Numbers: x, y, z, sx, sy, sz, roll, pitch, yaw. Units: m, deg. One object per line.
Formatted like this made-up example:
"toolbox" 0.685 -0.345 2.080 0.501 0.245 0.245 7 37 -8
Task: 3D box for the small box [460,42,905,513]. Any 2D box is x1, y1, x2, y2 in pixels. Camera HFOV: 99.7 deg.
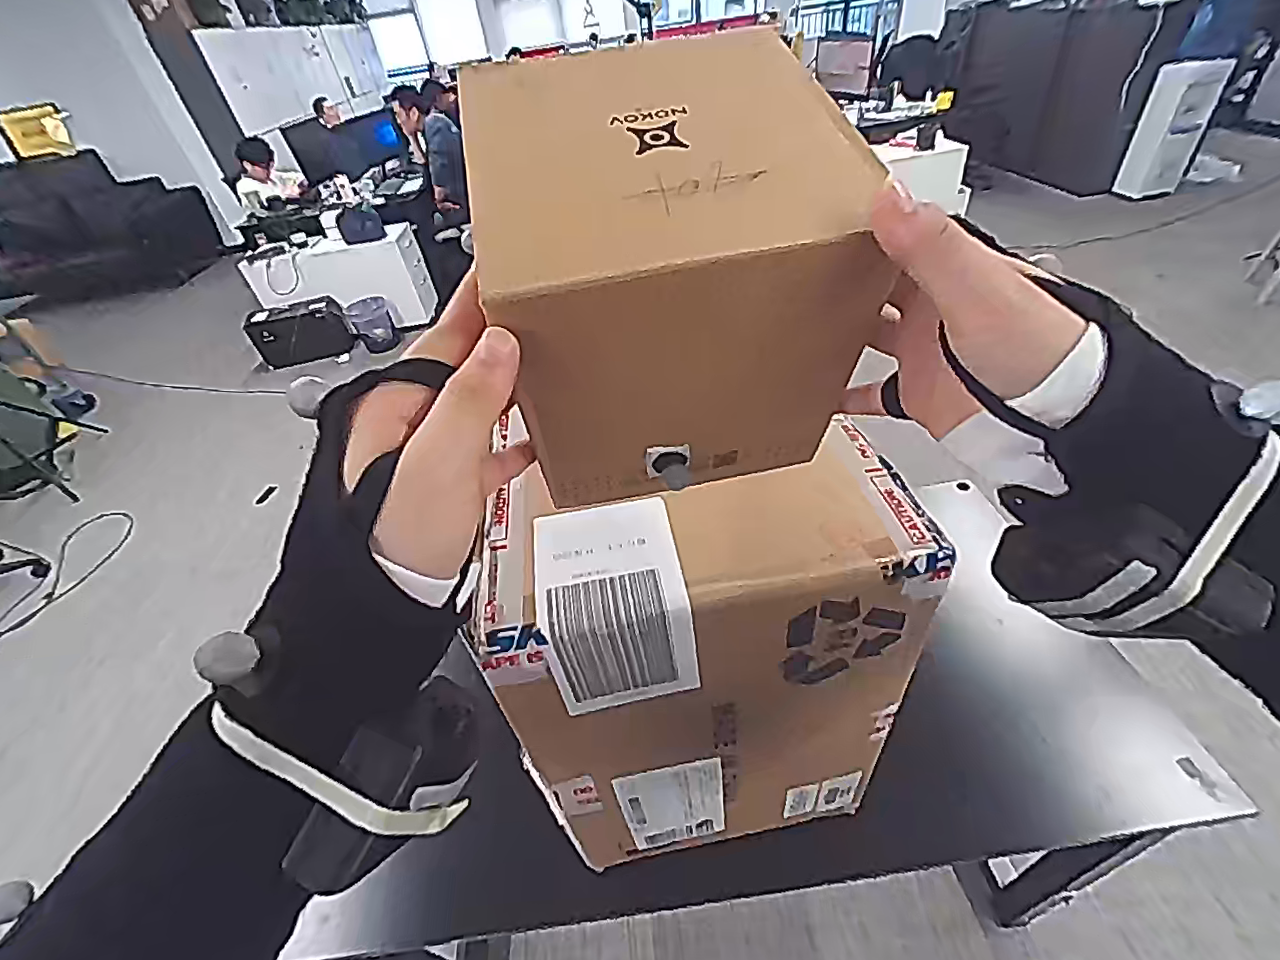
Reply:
"small box" 0.007 -0.105 0.309 0.168 0.176 0.179 -12 61 -4
